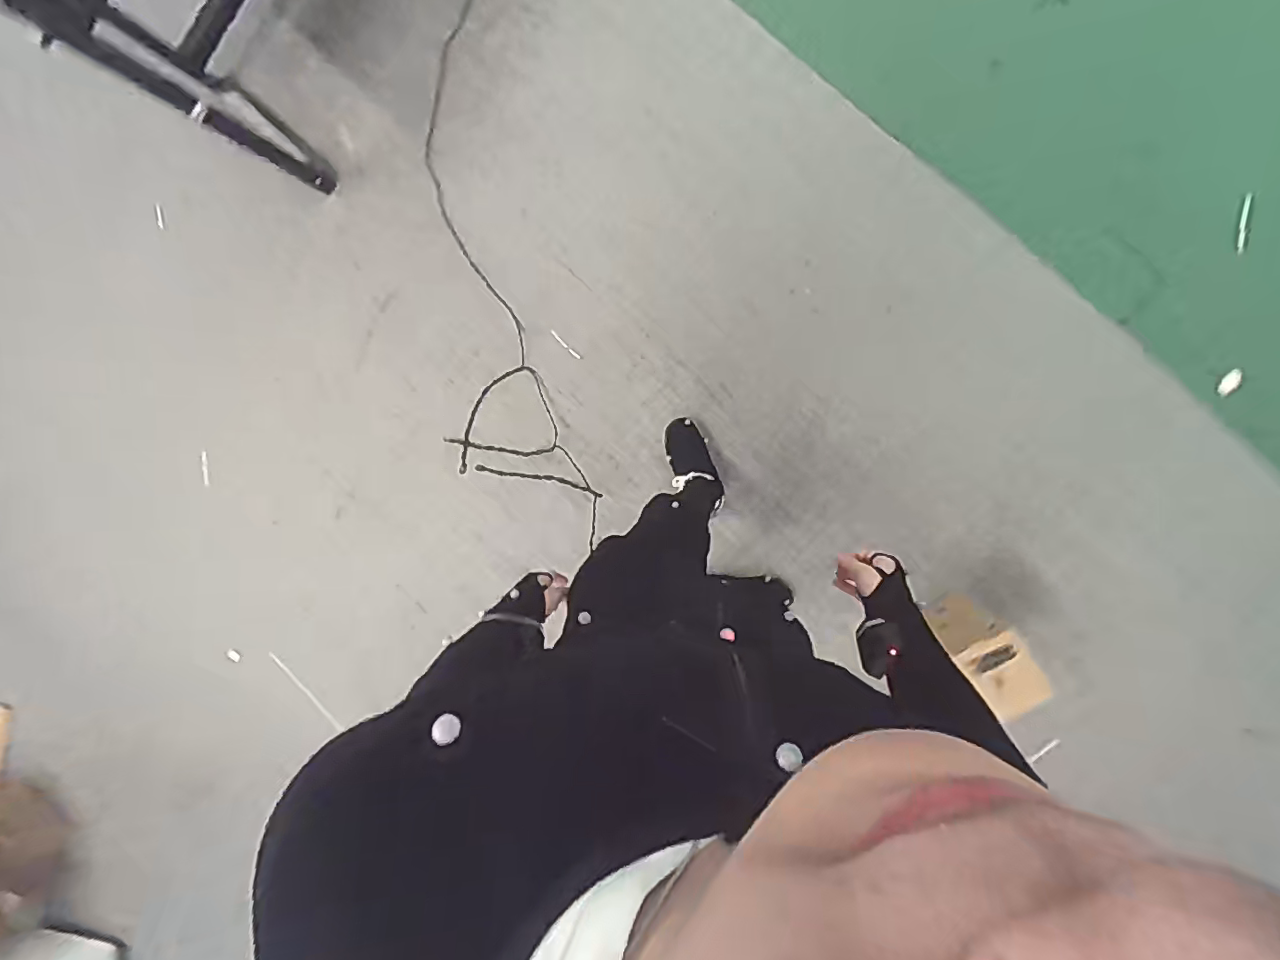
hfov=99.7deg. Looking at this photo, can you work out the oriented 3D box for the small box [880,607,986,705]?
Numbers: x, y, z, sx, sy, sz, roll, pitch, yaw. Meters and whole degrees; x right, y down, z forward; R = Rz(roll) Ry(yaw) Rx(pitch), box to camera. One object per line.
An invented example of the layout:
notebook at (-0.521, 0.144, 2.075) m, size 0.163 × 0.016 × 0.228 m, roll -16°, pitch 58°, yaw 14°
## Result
small box at (0.752, 0.446, 1.409) m, size 0.168 × 0.176 × 0.179 m, roll -23°, pitch 90°, yaw 12°
